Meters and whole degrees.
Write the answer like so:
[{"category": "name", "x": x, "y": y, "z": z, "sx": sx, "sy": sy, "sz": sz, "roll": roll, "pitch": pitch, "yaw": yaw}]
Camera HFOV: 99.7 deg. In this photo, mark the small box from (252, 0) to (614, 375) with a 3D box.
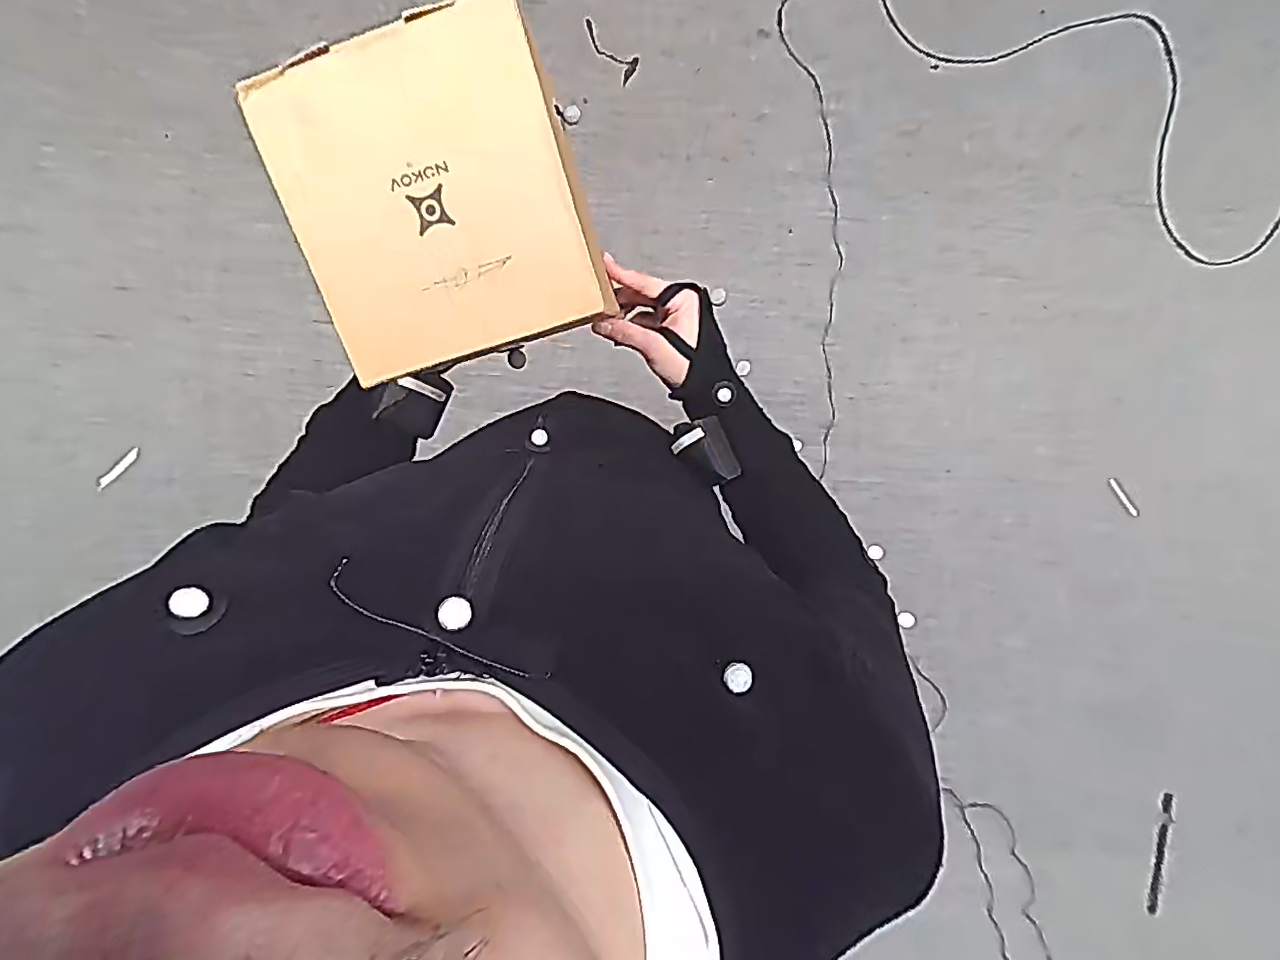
[{"category": "small box", "x": -0.122, "y": -0.188, "z": 0.400, "sx": 0.168, "sy": 0.176, "sz": 0.179, "roll": -15, "pitch": 106, "yaw": 5}]
